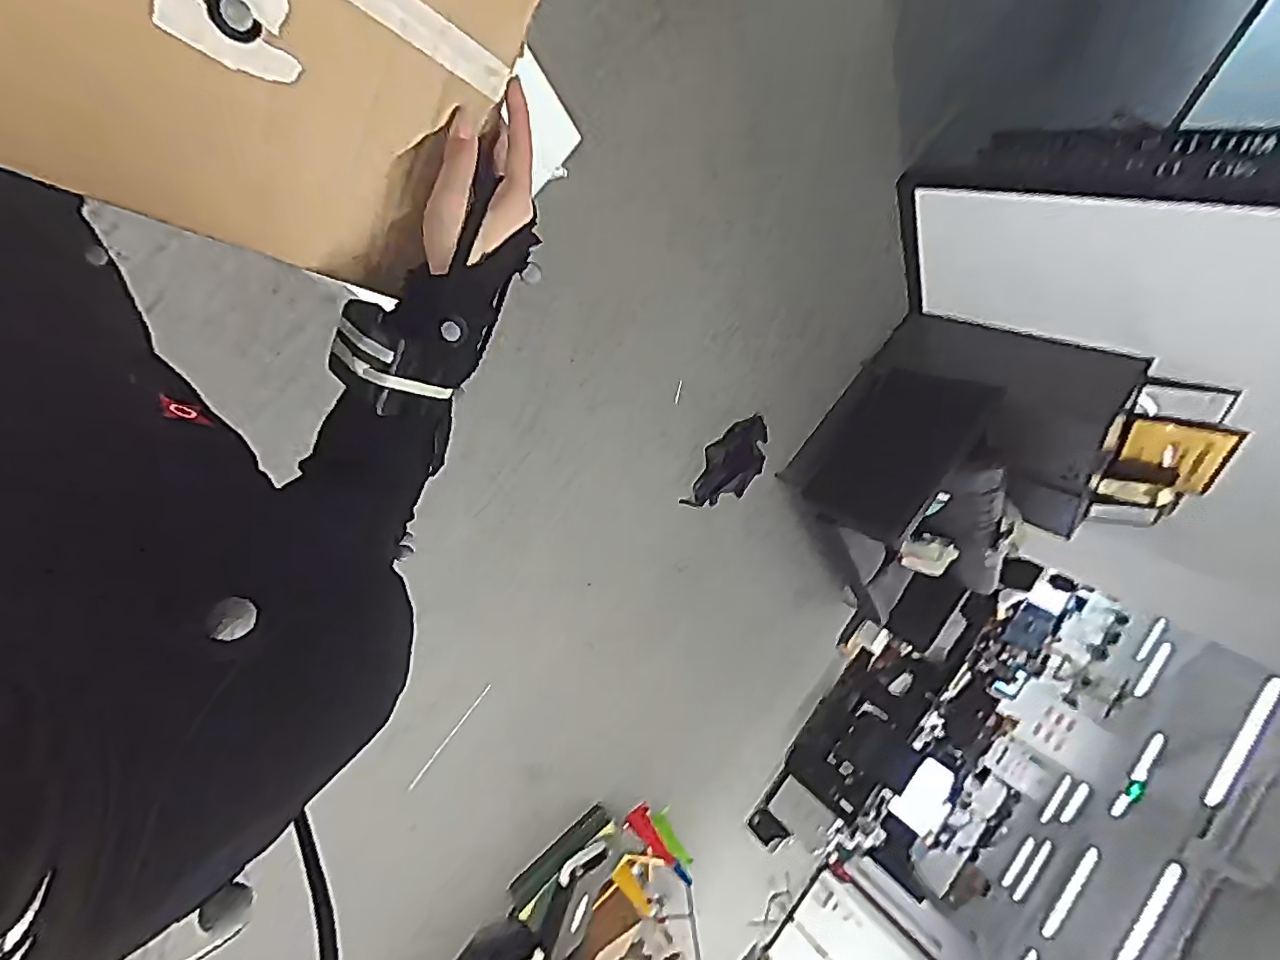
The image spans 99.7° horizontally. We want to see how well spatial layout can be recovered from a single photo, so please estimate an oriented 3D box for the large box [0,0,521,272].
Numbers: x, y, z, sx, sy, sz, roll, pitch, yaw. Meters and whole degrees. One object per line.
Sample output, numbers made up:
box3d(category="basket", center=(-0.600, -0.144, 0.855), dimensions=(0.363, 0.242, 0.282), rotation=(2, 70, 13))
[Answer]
box3d(category="large box", center=(-0.310, -0.373, 0.284), dimensions=(0.408, 0.320, 0.320), rotation=(5, 125, -49))
